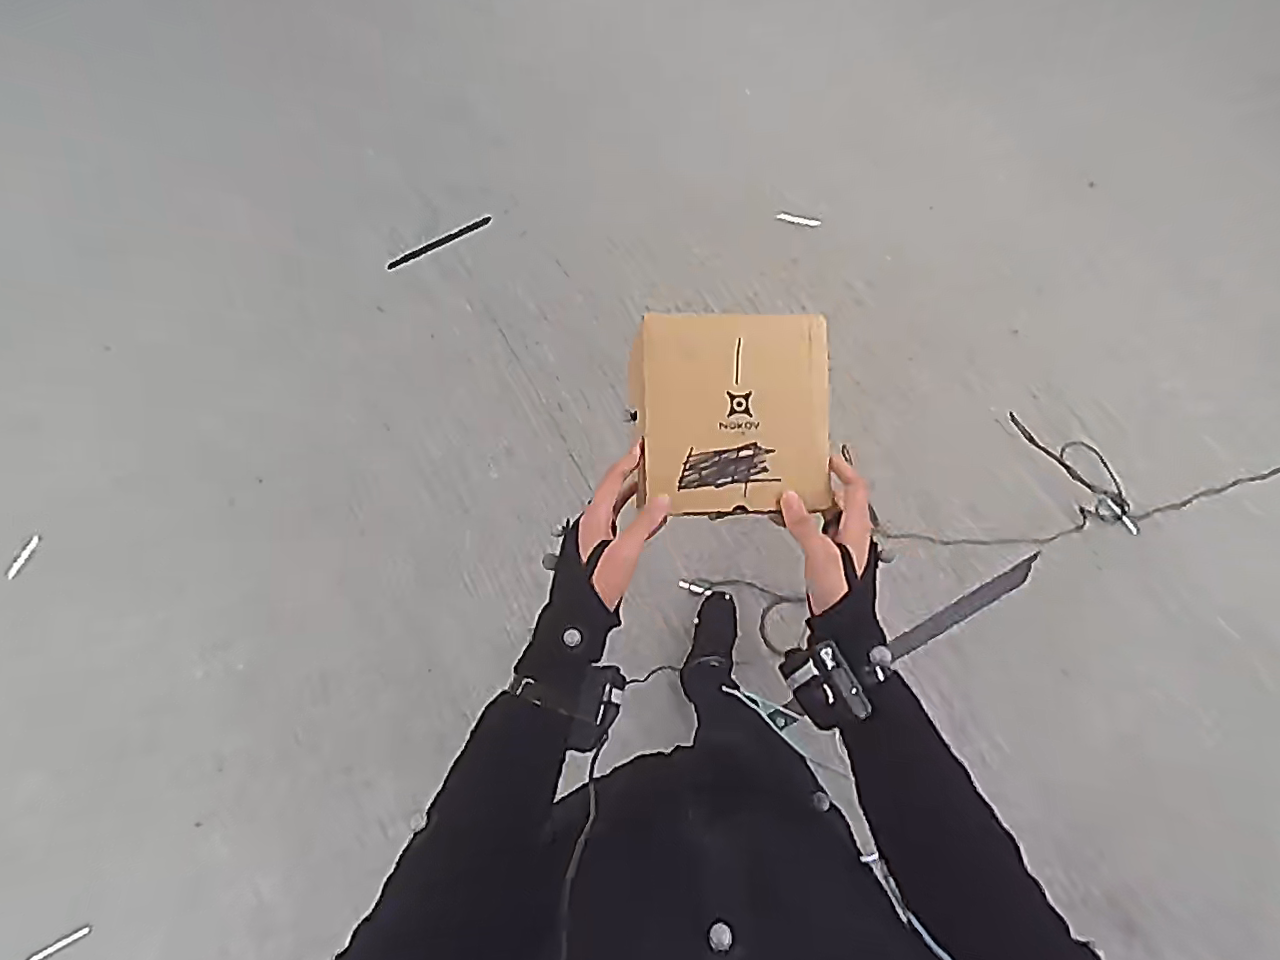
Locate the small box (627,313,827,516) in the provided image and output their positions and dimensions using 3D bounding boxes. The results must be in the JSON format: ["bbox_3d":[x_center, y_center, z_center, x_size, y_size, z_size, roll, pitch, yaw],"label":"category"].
[{"bbox_3d":[0.076,-0.056,0.551,0.168,0.176,0.179,-1,88,-6],"label":"small box"}]
